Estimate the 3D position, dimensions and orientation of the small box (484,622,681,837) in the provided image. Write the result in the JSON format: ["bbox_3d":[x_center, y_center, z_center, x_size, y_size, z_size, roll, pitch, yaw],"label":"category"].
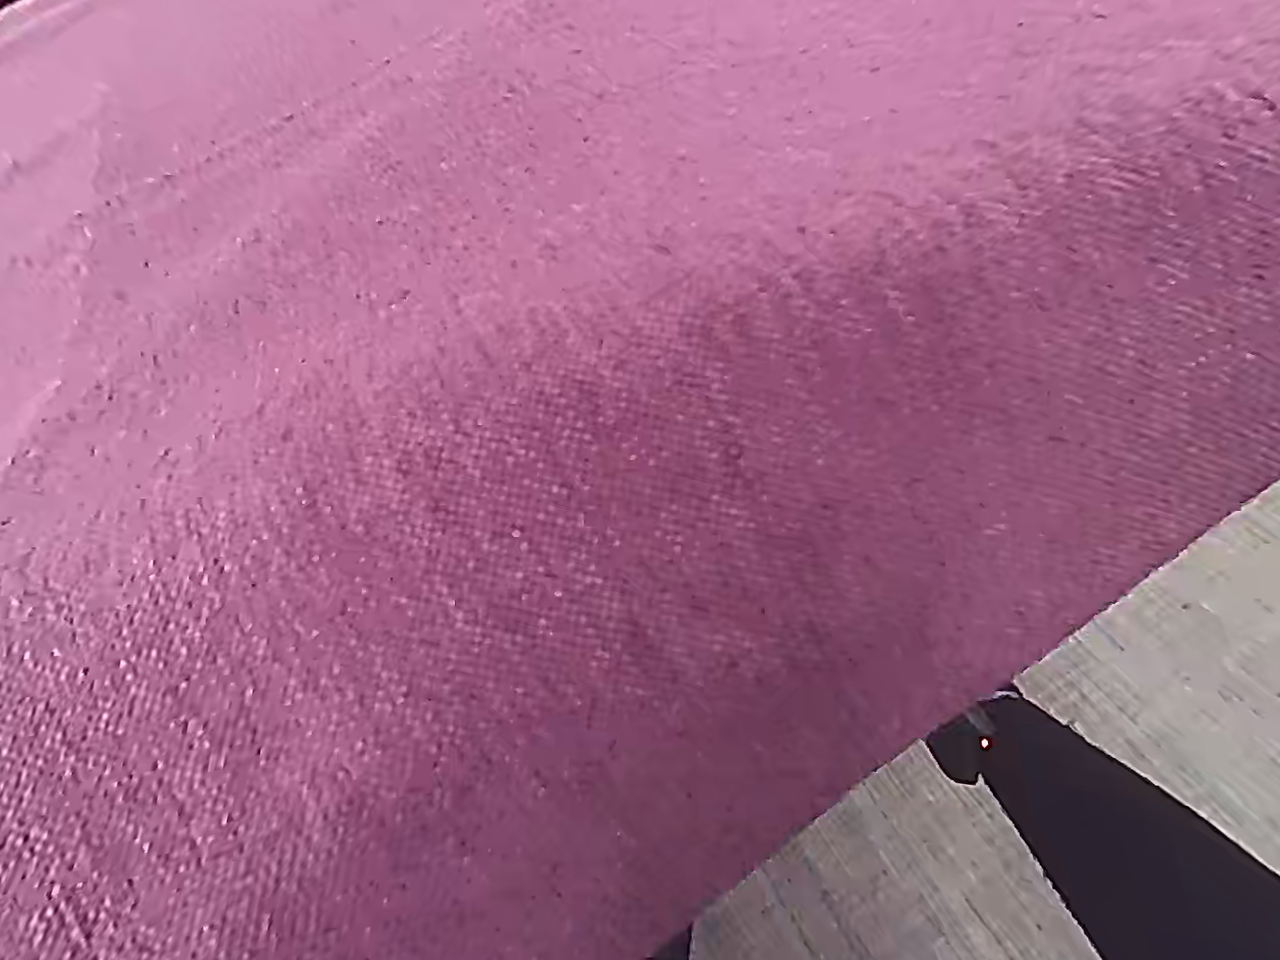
[{"bbox_3d":[-0.064,0.314,0.689,0.168,0.176,0.179,-31,58,-5],"label":"small box"}]
